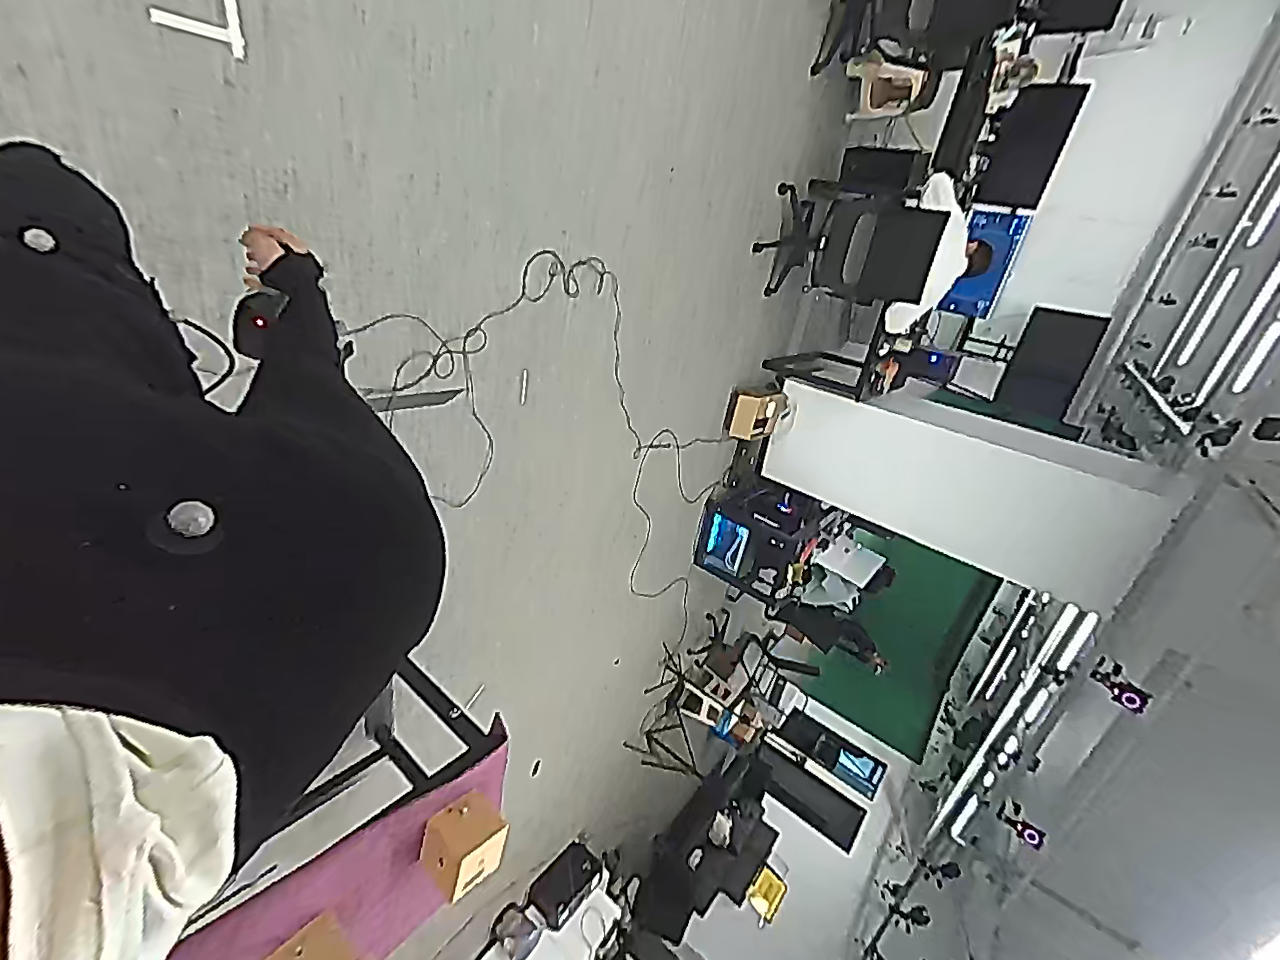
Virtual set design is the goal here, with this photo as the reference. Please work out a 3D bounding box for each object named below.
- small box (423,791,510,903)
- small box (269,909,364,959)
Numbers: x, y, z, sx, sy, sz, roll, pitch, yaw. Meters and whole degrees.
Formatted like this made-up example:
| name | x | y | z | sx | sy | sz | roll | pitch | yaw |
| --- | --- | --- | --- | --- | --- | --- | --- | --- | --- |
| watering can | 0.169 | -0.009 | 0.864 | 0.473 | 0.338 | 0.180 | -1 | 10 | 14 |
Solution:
| name | x | y | z | sx | sy | sz | roll | pitch | yaw |
| --- | --- | --- | --- | --- | --- | --- | --- | --- | --- |
| small box | -0.514 | 1.069 | 1.590 | 0.168 | 0.176 | 0.179 | -8 | 118 | -54 |
| small box | -0.778 | 1.198 | 1.291 | 0.179 | 0.176 | 0.168 | -23 | 132 | -47 |
